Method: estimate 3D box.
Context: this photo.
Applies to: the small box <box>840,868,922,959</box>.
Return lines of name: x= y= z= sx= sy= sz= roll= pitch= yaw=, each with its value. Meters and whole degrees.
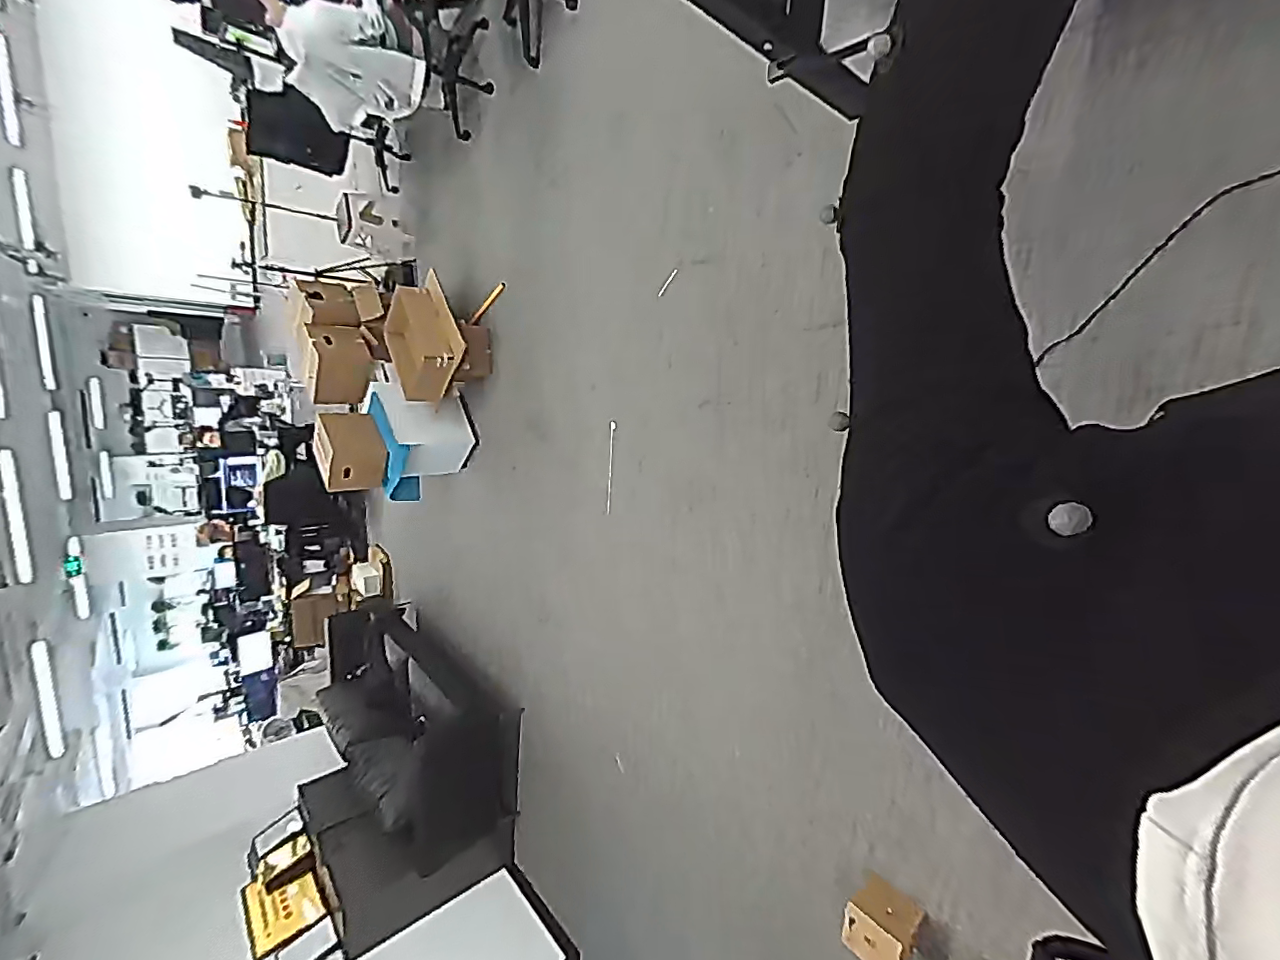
small box: x=0.770 y=1.395 z=1.720 sx=0.179 sy=0.176 sz=0.168 roll=18 pitch=108 yaw=45
